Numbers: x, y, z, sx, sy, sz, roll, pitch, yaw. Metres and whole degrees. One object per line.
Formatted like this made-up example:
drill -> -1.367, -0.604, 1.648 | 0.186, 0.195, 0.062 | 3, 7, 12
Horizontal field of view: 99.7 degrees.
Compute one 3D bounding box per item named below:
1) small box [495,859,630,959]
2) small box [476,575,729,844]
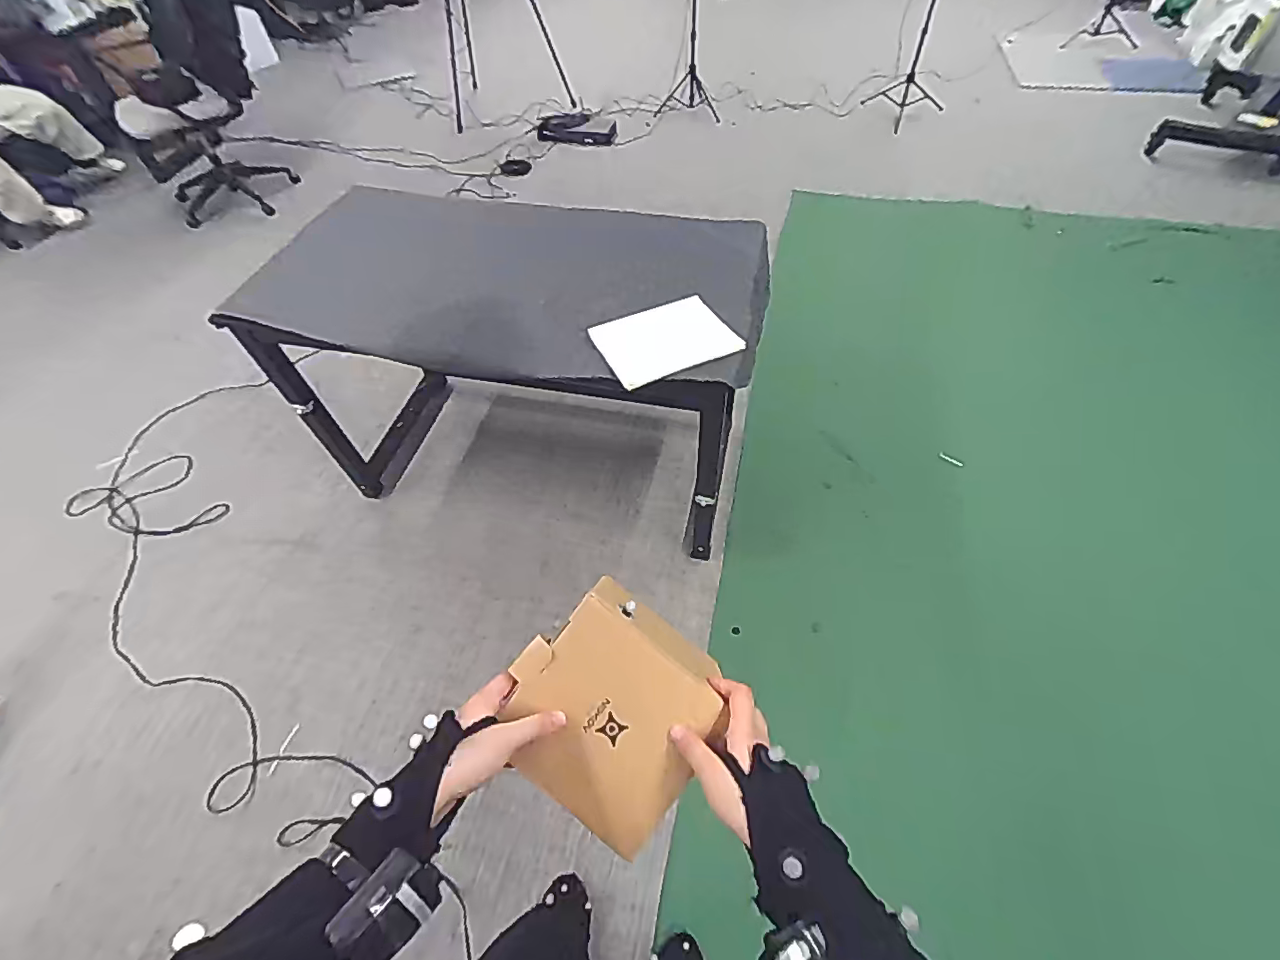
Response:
small box -> -0.142, 0.873, 1.035 | 0.179, 0.168, 0.176 | -25, 76, -42
small box -> -0.030, 0.216, 0.569 | 0.179, 0.176, 0.168 | 37, 88, 5
